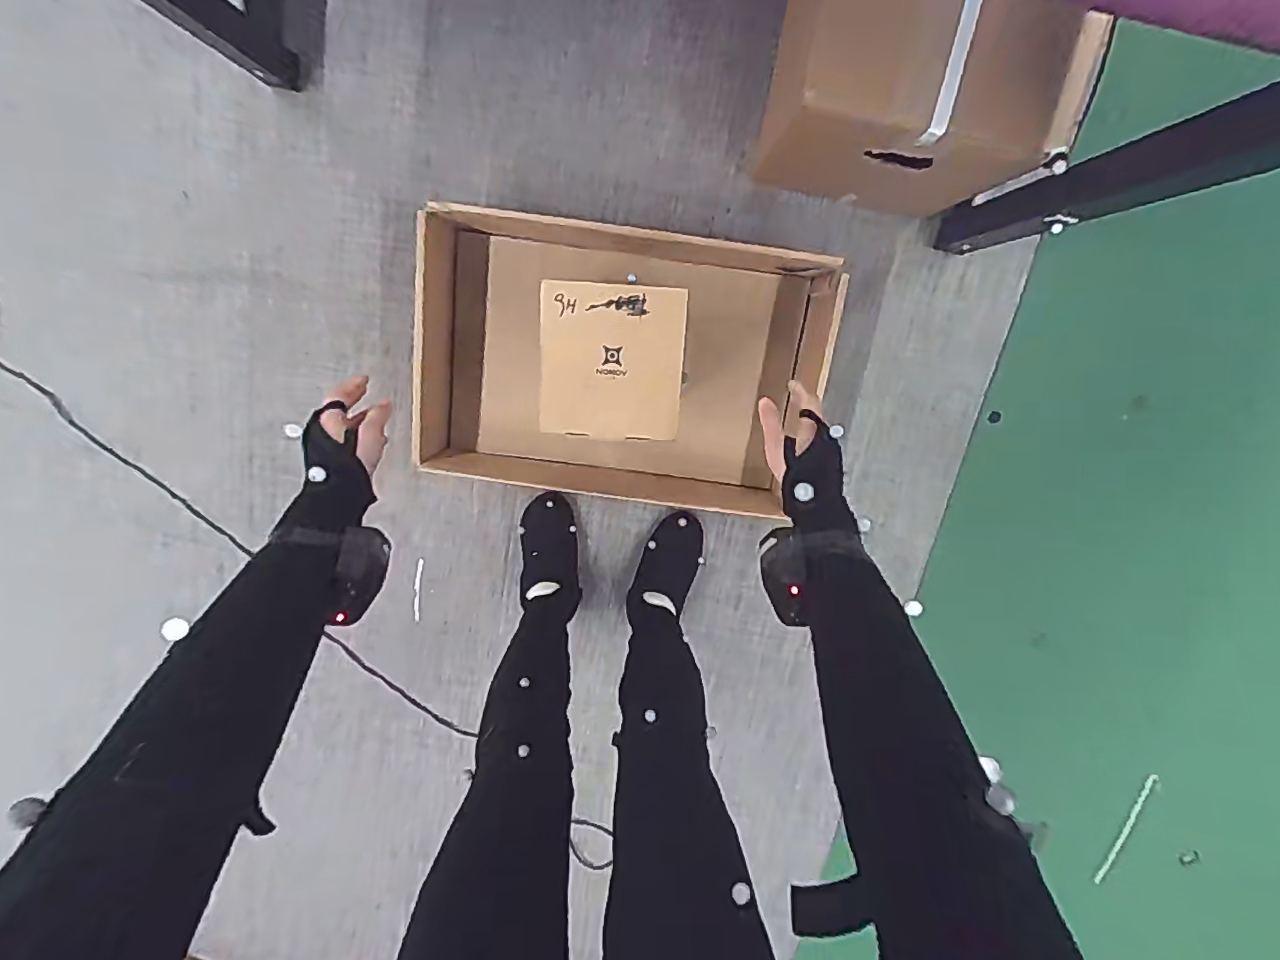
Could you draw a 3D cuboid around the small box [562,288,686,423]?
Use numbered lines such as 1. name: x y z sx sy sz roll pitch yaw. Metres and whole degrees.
1. small box: -0.025 -0.197 0.858 0.168 0.176 0.179 7 105 0
